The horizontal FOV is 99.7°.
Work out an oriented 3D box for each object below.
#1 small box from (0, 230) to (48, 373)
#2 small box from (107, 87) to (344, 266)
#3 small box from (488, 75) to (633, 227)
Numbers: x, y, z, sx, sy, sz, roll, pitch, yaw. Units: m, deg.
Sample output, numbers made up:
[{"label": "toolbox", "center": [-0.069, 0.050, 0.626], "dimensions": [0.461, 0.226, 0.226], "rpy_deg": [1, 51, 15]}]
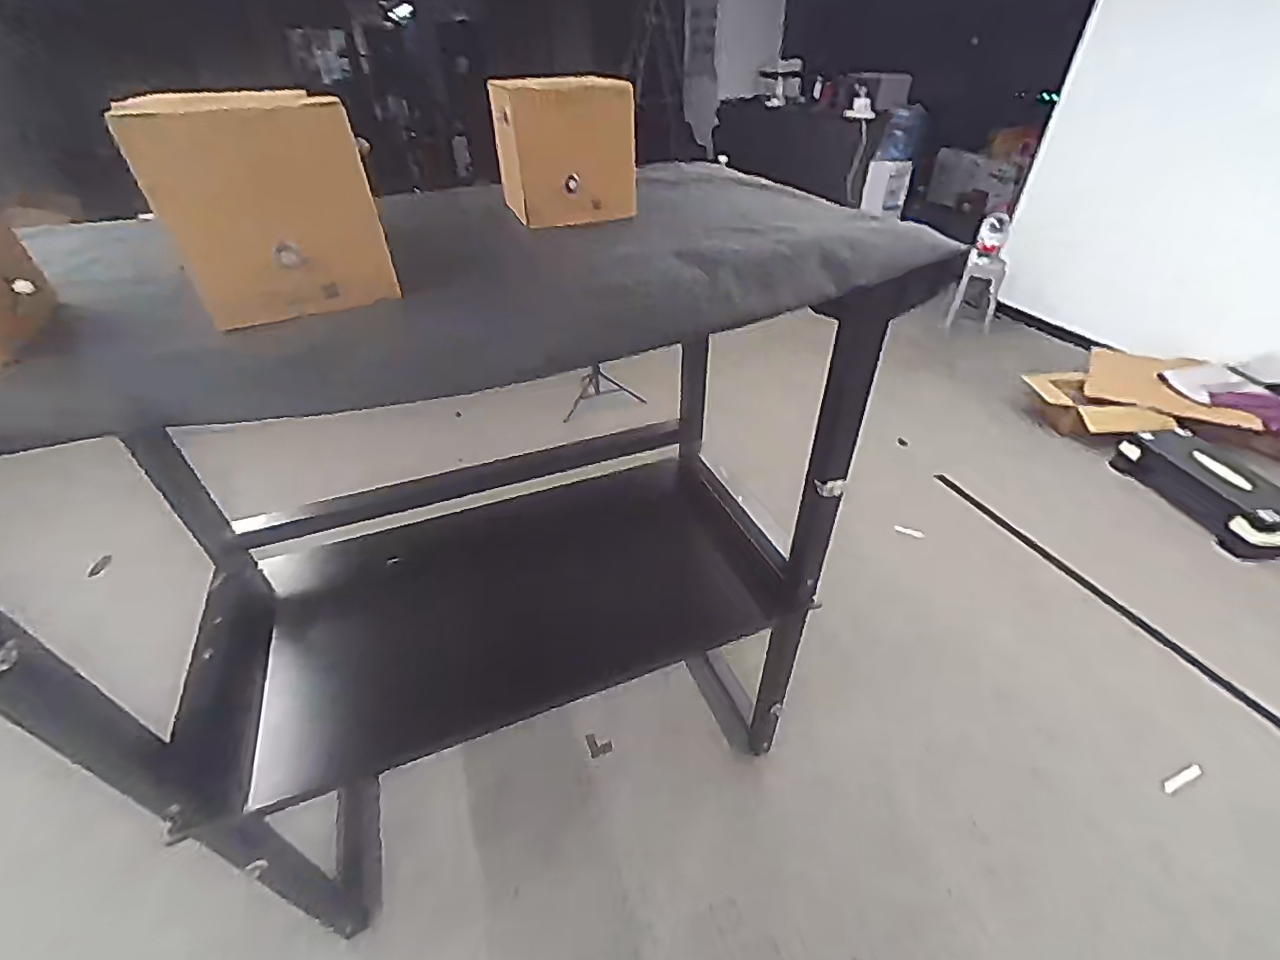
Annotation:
[{"label": "small box", "center": [-0.639, -0.171, 0.426], "dimensions": [0.168, 0.176, 0.179], "rpy_deg": [-20, 43, -22]}, {"label": "small box", "center": [-0.490, -0.377, 0.676], "dimensions": [0.168, 0.176, 0.179], "rpy_deg": [-13, 42, -15]}, {"label": "small box", "center": [-0.115, -0.484, 0.794], "dimensions": [0.168, 0.176, 0.179], "rpy_deg": [-15, 42, -16]}]
